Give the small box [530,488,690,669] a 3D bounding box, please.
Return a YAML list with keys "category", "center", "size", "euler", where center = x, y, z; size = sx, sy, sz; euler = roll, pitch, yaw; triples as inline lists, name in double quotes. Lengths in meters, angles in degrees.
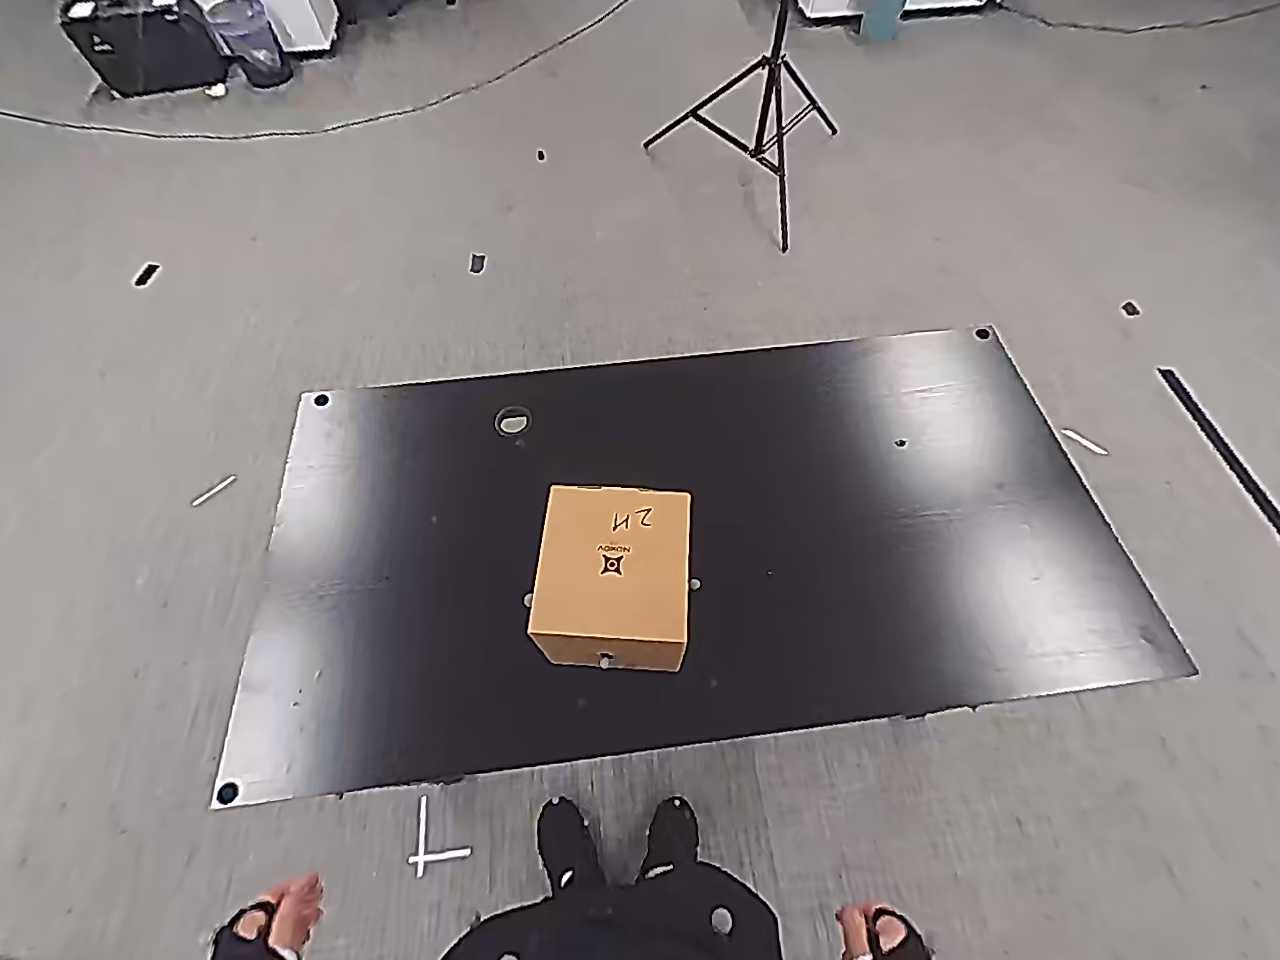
- category: "small box"
  center: [-0.028, 0.128, 0.668]
  size: [0.168, 0.176, 0.179]
  euler: [3, 60, 2]
